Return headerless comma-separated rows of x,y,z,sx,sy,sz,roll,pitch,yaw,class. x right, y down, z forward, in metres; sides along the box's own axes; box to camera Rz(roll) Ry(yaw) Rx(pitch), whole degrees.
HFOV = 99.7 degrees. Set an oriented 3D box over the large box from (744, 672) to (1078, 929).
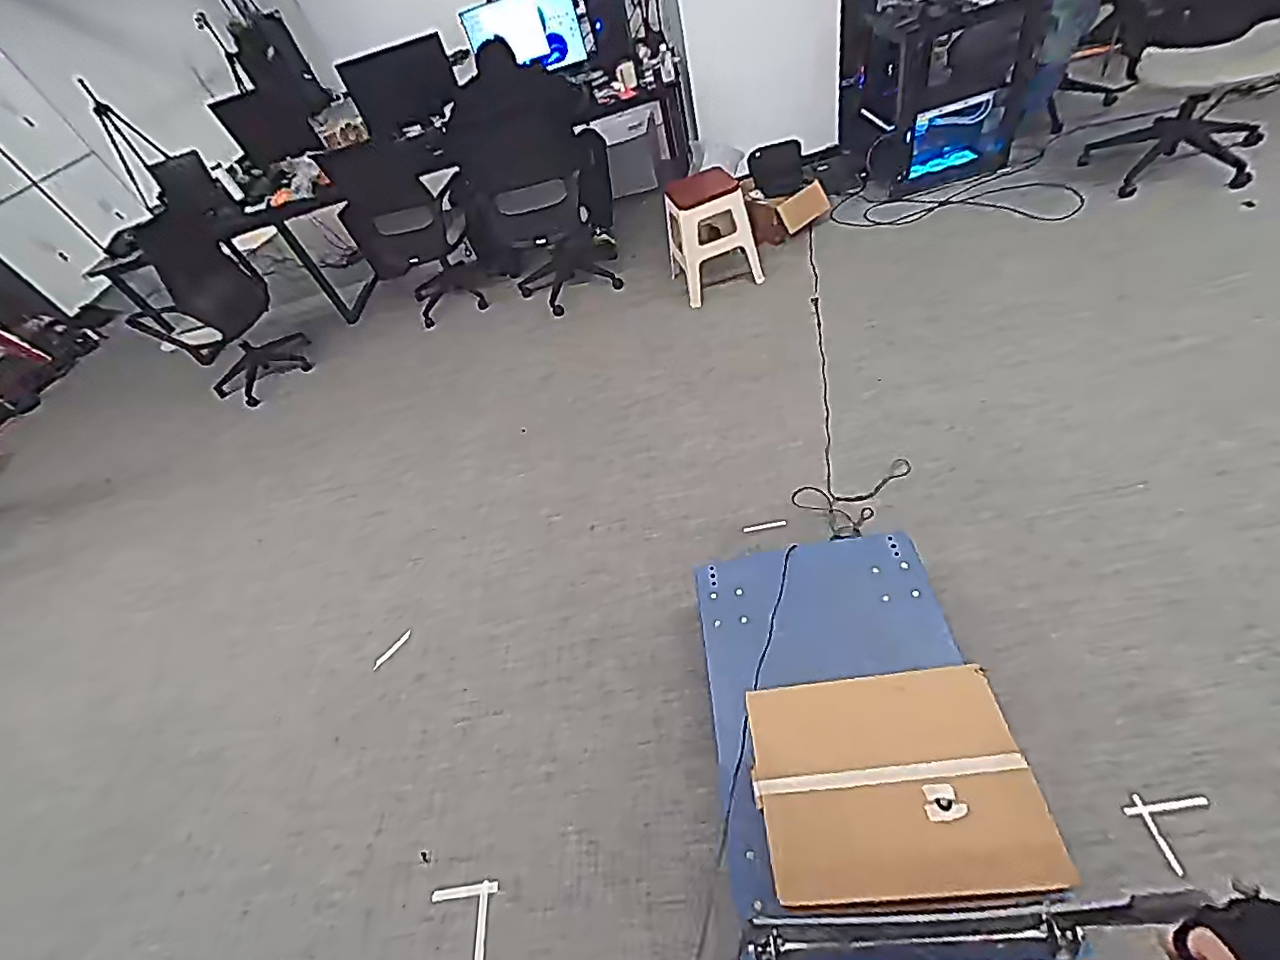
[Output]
0.419,0.572,0.951,0.408,0.320,0.320,-11,49,8,large box
